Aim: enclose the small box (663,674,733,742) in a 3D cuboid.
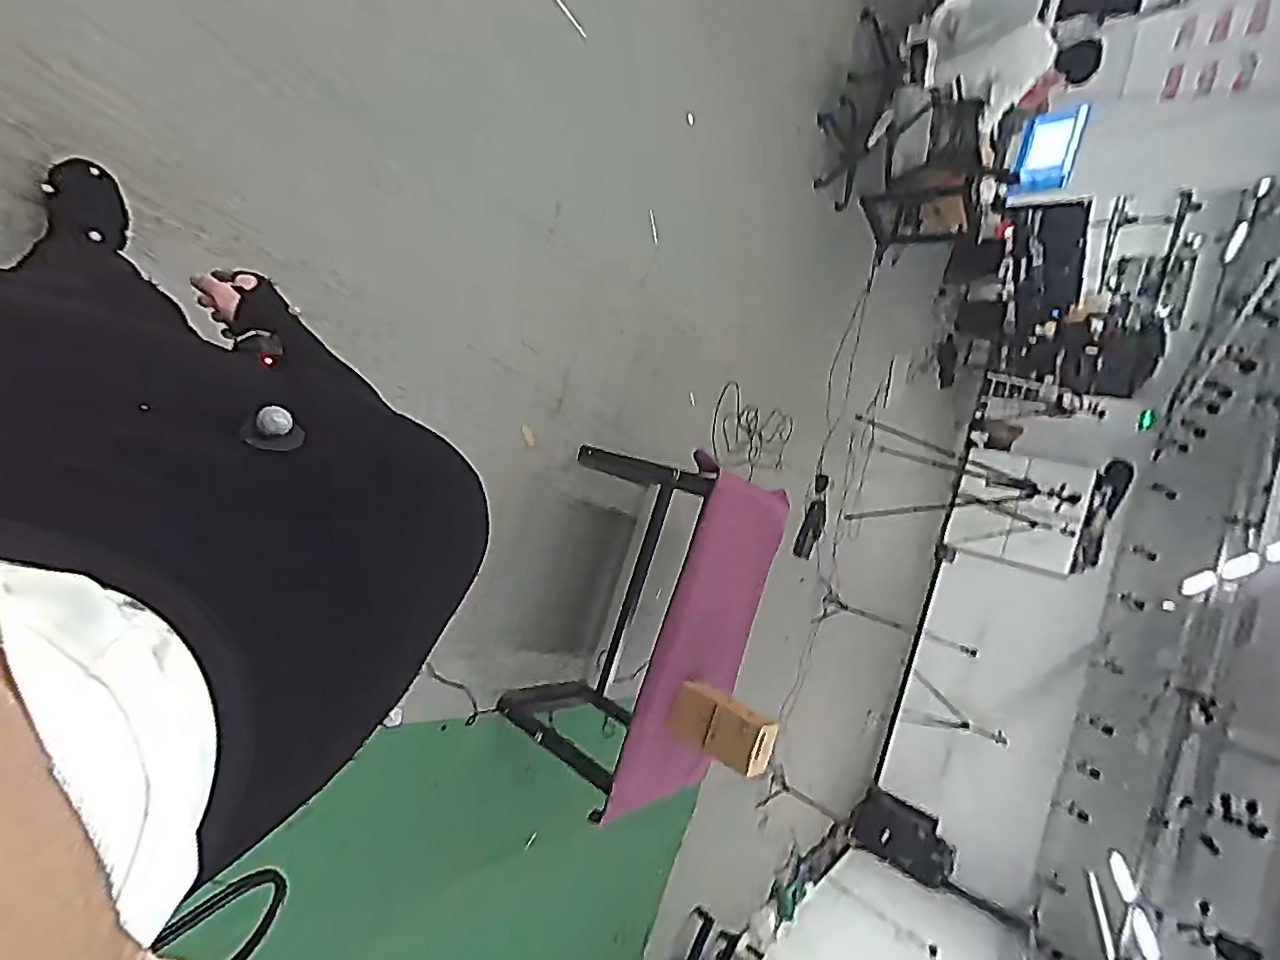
[{"bbox_3d":[0.209,0.818,1.964,0.168,0.176,0.179,26,82,-52],"label":"small box"}]
